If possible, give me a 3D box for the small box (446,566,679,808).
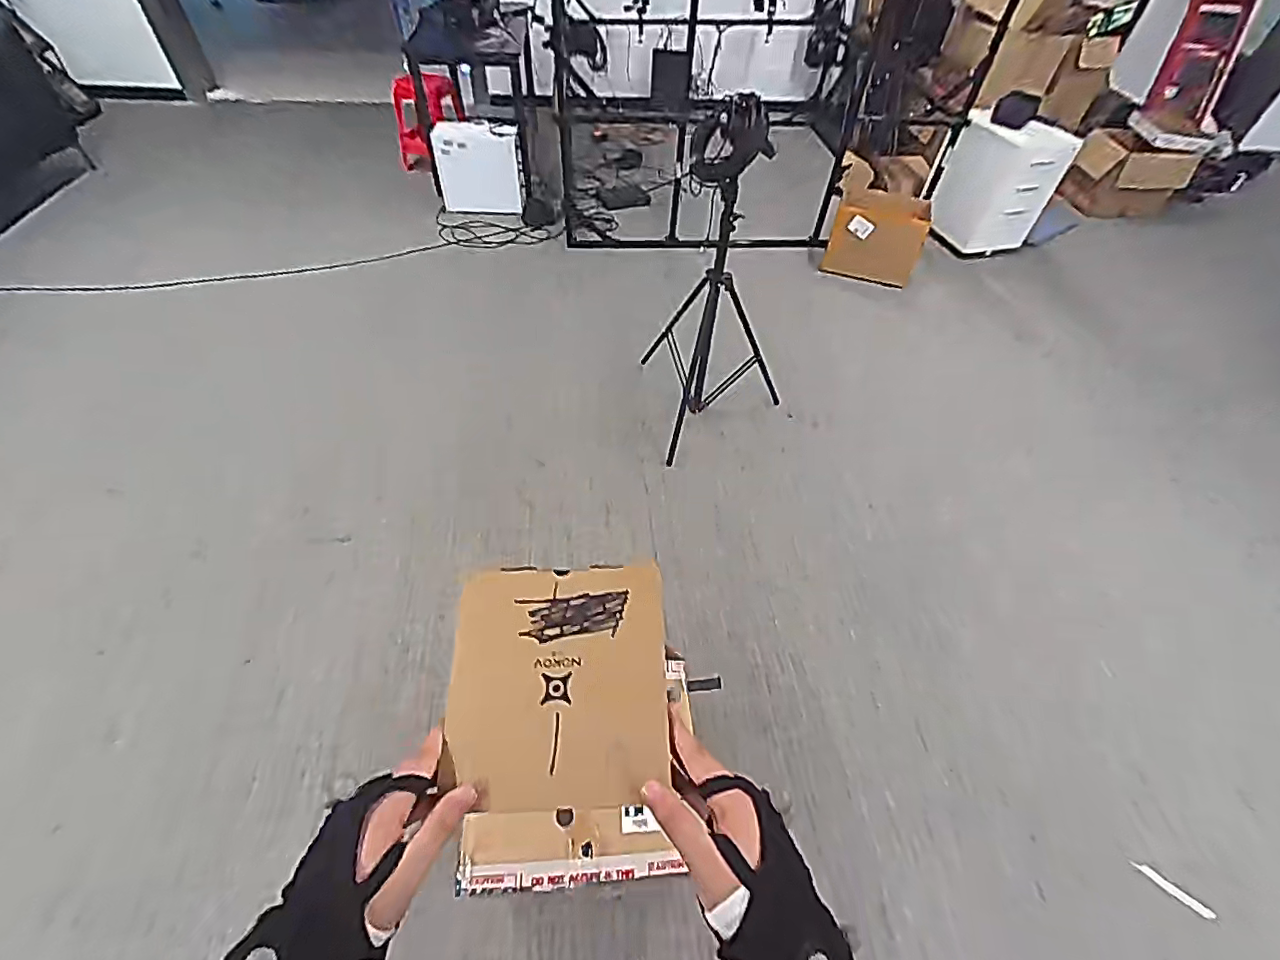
[{"bbox_3d":[-0.056,0.190,0.485,0.168,0.176,0.179,-2,61,-1],"label":"small box"}]
